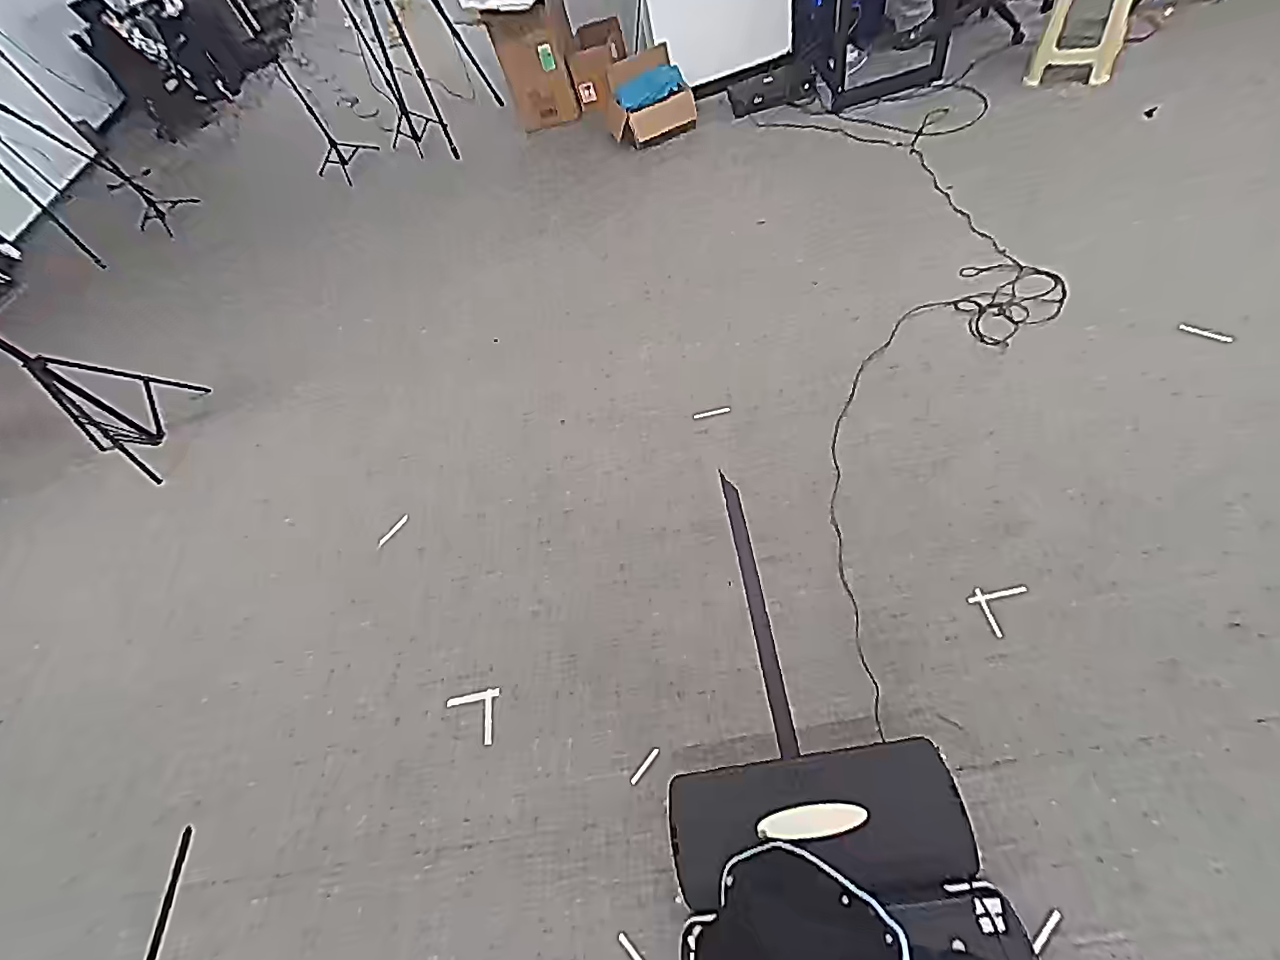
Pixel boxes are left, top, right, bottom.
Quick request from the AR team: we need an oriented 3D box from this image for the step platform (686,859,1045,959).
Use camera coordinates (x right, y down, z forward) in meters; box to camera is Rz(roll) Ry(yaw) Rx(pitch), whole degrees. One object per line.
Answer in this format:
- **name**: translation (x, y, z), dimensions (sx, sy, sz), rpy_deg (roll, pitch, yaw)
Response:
- **step platform**: translation (0.437, 0.988, 1.096), dimensions (0.684, 0.204, 0.286), rpy_deg (-15, 54, 8)
